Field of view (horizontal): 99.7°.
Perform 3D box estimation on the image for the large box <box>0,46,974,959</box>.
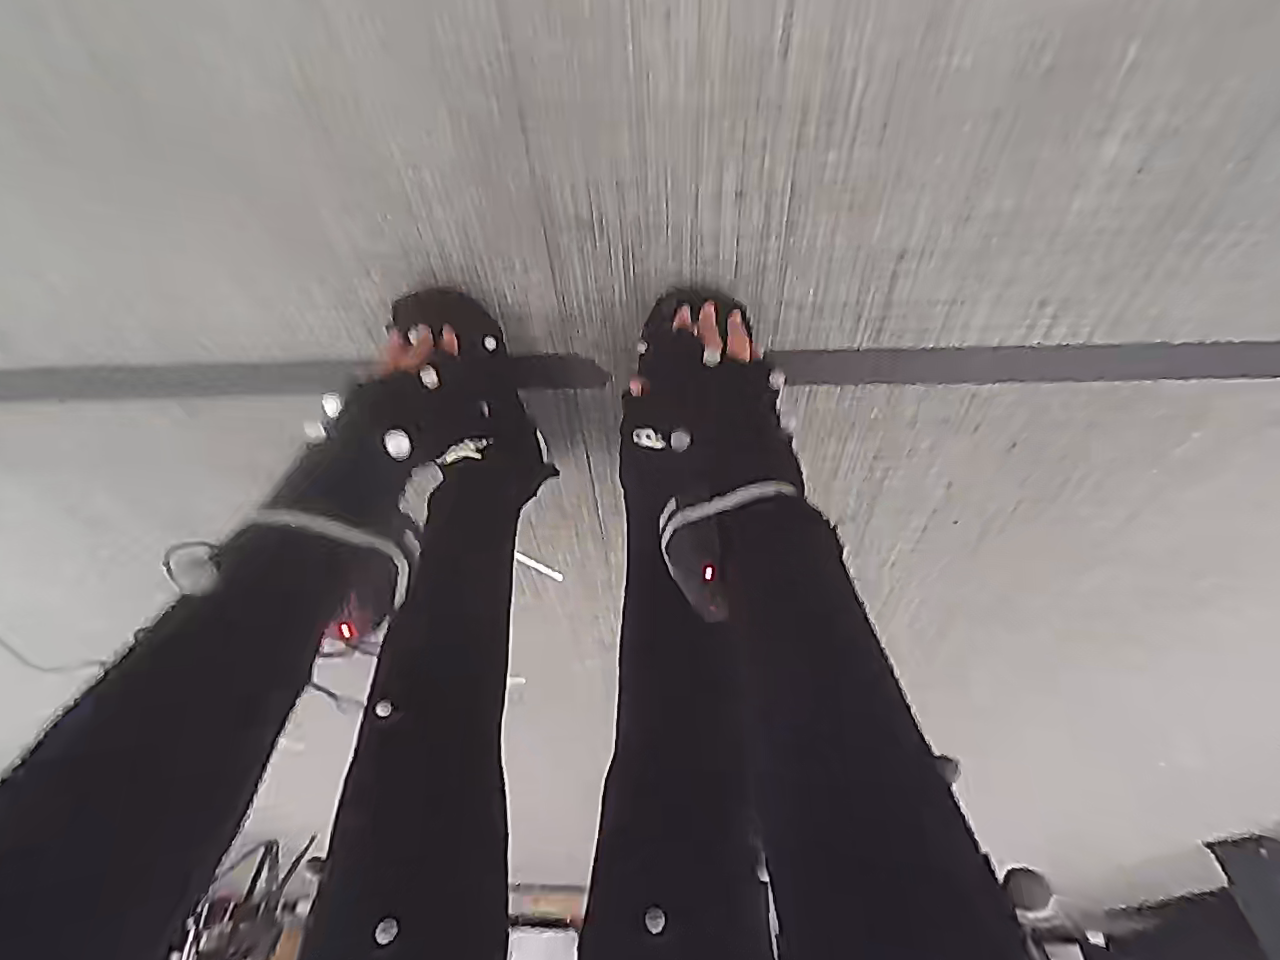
[{"bbox_3d":[-0.064,0.105,0.308,0.320,0.320,0.408,-42,162,21],"label":"large box"}]
